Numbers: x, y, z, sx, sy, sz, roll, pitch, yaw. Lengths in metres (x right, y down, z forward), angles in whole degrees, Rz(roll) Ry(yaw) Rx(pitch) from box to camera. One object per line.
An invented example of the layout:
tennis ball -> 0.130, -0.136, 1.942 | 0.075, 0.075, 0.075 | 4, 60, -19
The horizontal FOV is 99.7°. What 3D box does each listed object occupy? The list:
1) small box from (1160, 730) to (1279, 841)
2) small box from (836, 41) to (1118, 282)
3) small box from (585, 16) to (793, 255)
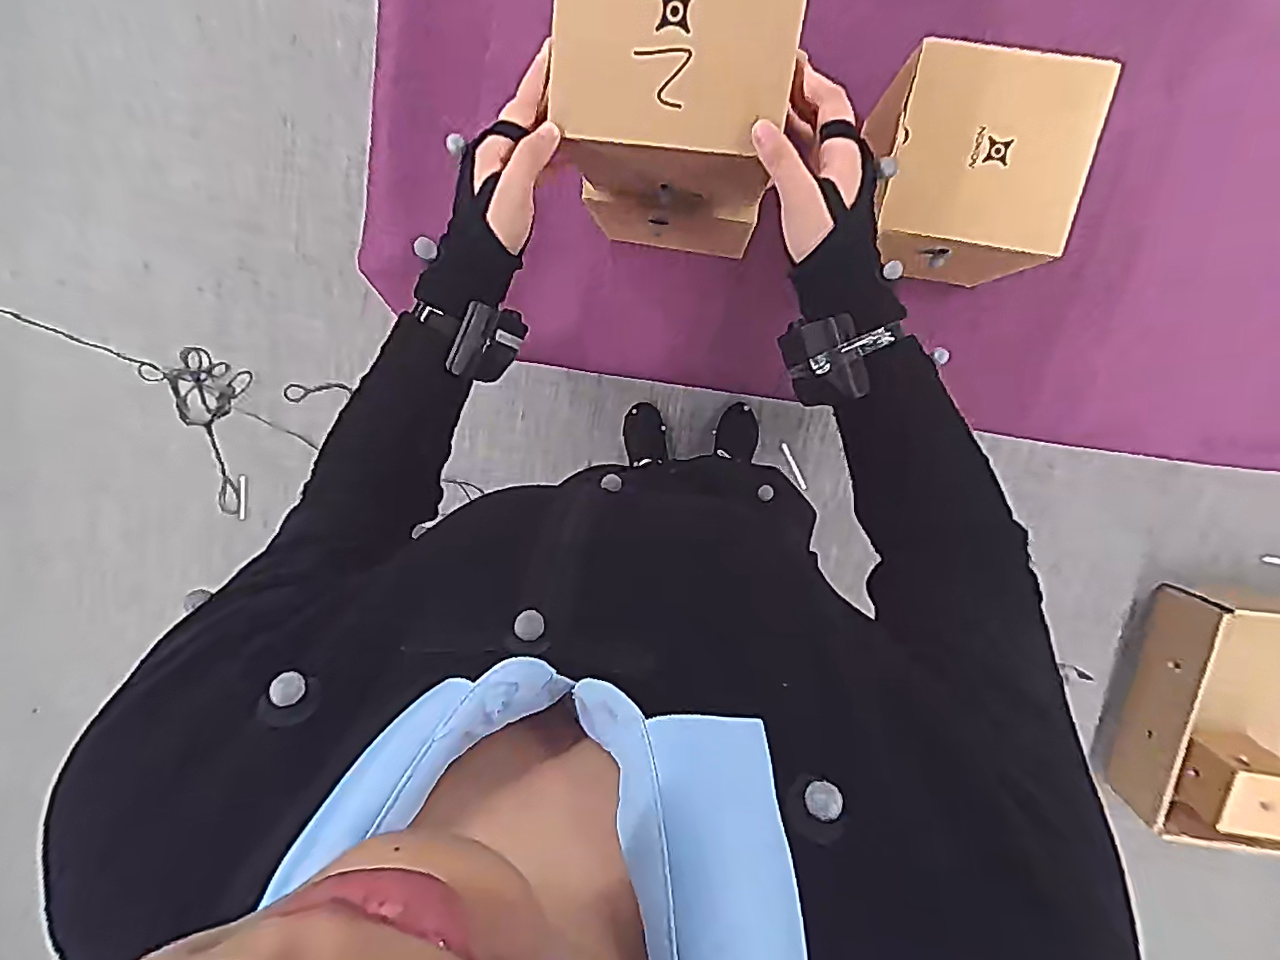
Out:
small box -> 1.478, 0.757, 1.355 | 0.179, 0.176, 0.168 | 7, 102, 4
small box -> 0.333, -0.317, 0.577 | 0.179, 0.176, 0.168 | 11, 102, 4
small box -> 0.051, -0.359, 0.596 | 0.179, 0.176, 0.168 | 10, 102, 3
